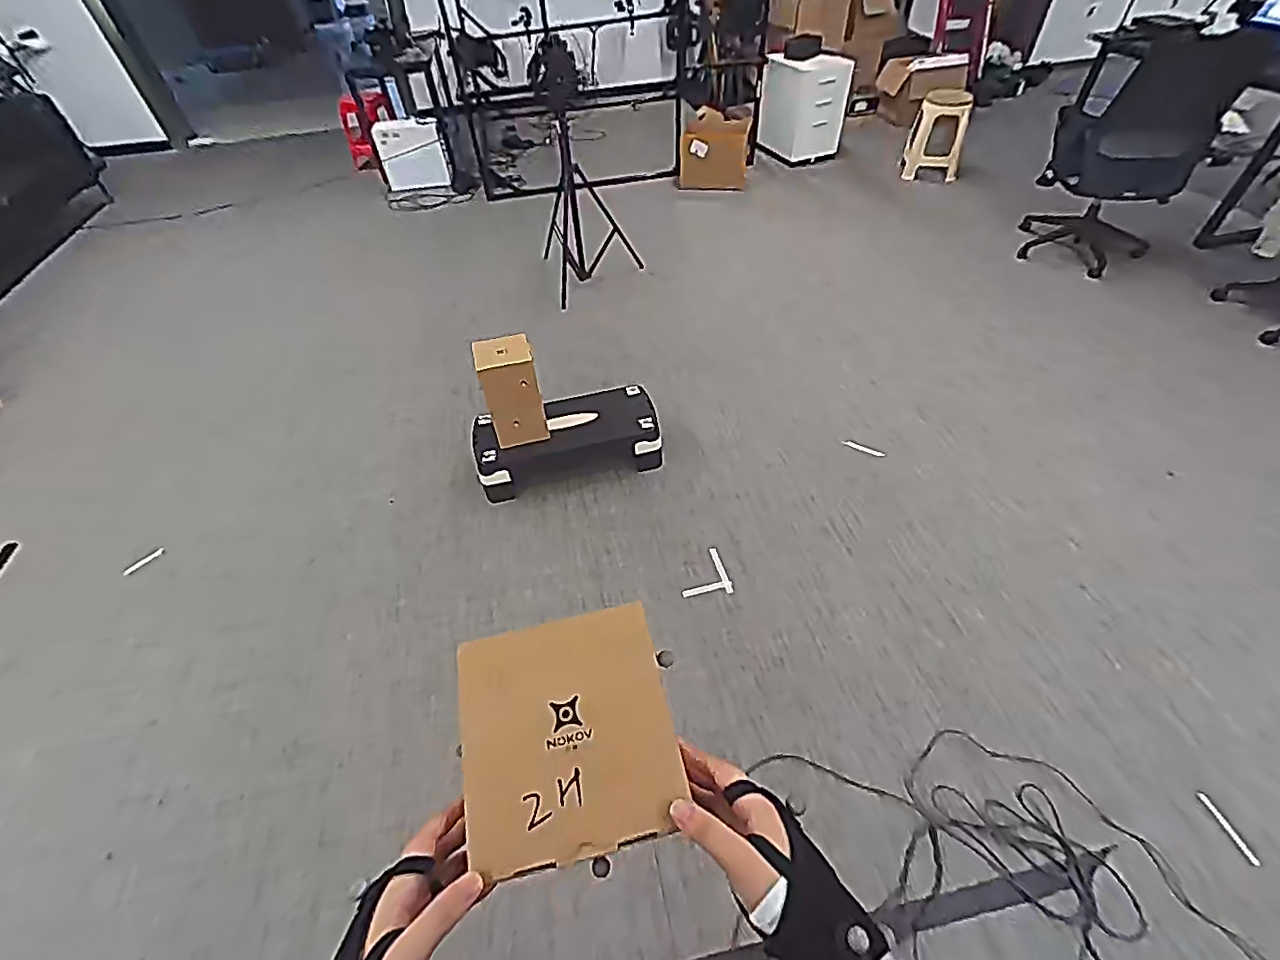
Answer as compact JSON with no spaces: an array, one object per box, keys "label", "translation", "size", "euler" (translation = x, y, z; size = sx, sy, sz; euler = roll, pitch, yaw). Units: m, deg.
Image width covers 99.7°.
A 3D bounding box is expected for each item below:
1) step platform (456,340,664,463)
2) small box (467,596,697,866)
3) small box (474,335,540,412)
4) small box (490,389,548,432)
[{"label":"step platform","translation":[-0.263,-0.272,1.864],"size":[0.684,0.204,0.286],"euler":[-12,48,-8]},{"label":"small box","translation":[-0.053,0.234,0.501],"size":[0.168,0.176,0.179],"euler":[-12,57,-6]},{"label":"small box","translation":[-0.432,-0.347,1.772],"size":[0.179,0.176,0.168],"euler":[-14,48,-9]},{"label":"small box","translation":[-0.424,-0.239,1.894],"size":[0.179,0.176,0.168],"euler":[-14,49,-8]}]
